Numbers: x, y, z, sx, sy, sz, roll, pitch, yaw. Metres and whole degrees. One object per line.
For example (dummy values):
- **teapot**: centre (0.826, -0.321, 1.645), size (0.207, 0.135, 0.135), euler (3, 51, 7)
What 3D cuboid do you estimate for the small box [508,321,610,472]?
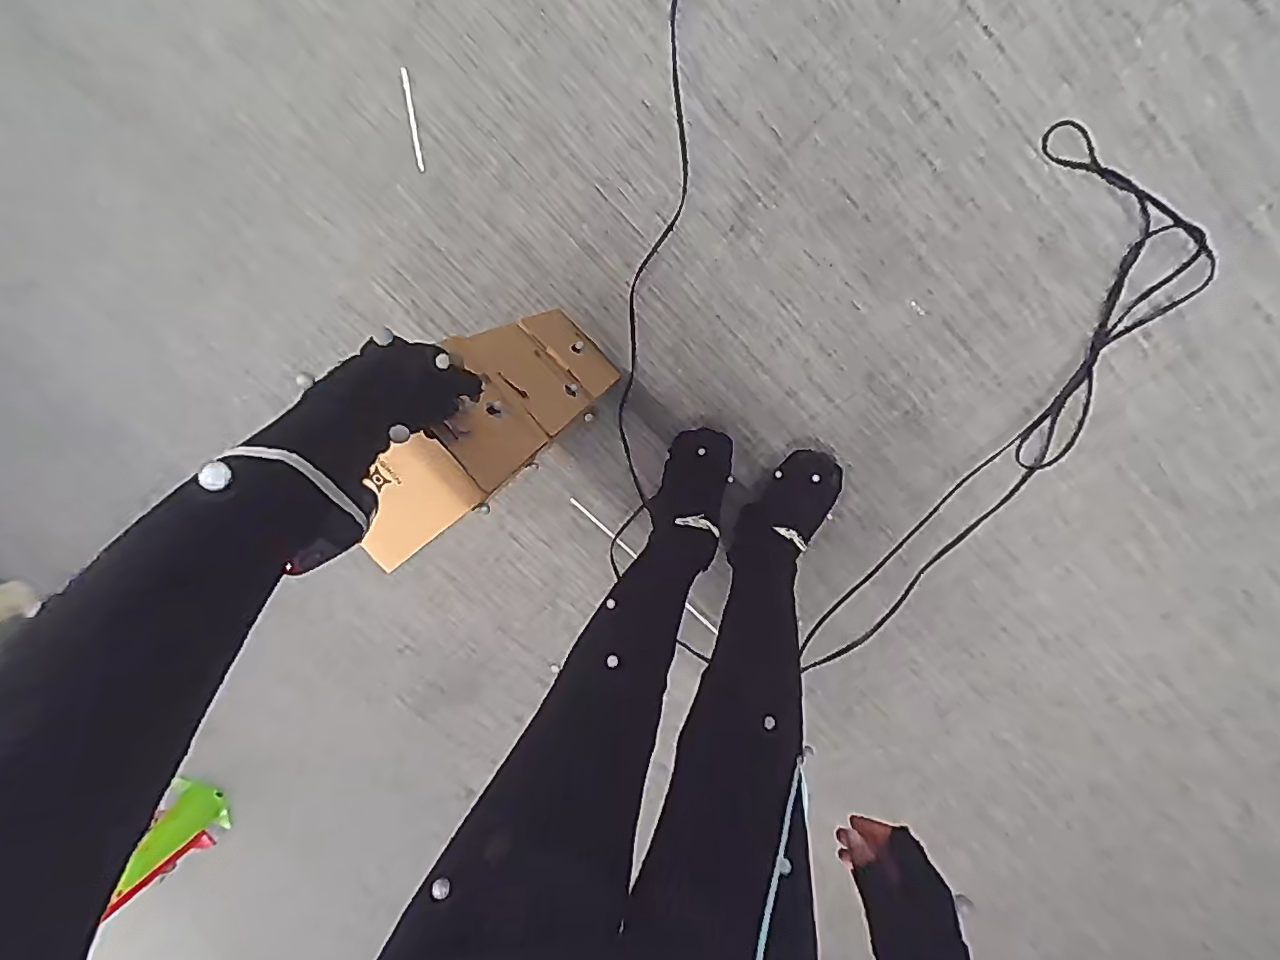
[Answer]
- **small box**: centre (-0.169, -0.149, 0.917), size (0.168, 0.176, 0.179), euler (44, 114, -5)

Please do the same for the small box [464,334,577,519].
- **small box**: centre (-0.210, -0.084, 0.769), size (0.179, 0.176, 0.168), euler (-40, 100, 26)

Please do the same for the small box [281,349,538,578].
- **small box**: centre (-0.249, -0.026, 0.622), size (0.179, 0.176, 0.168), euler (-35, 102, 23)
